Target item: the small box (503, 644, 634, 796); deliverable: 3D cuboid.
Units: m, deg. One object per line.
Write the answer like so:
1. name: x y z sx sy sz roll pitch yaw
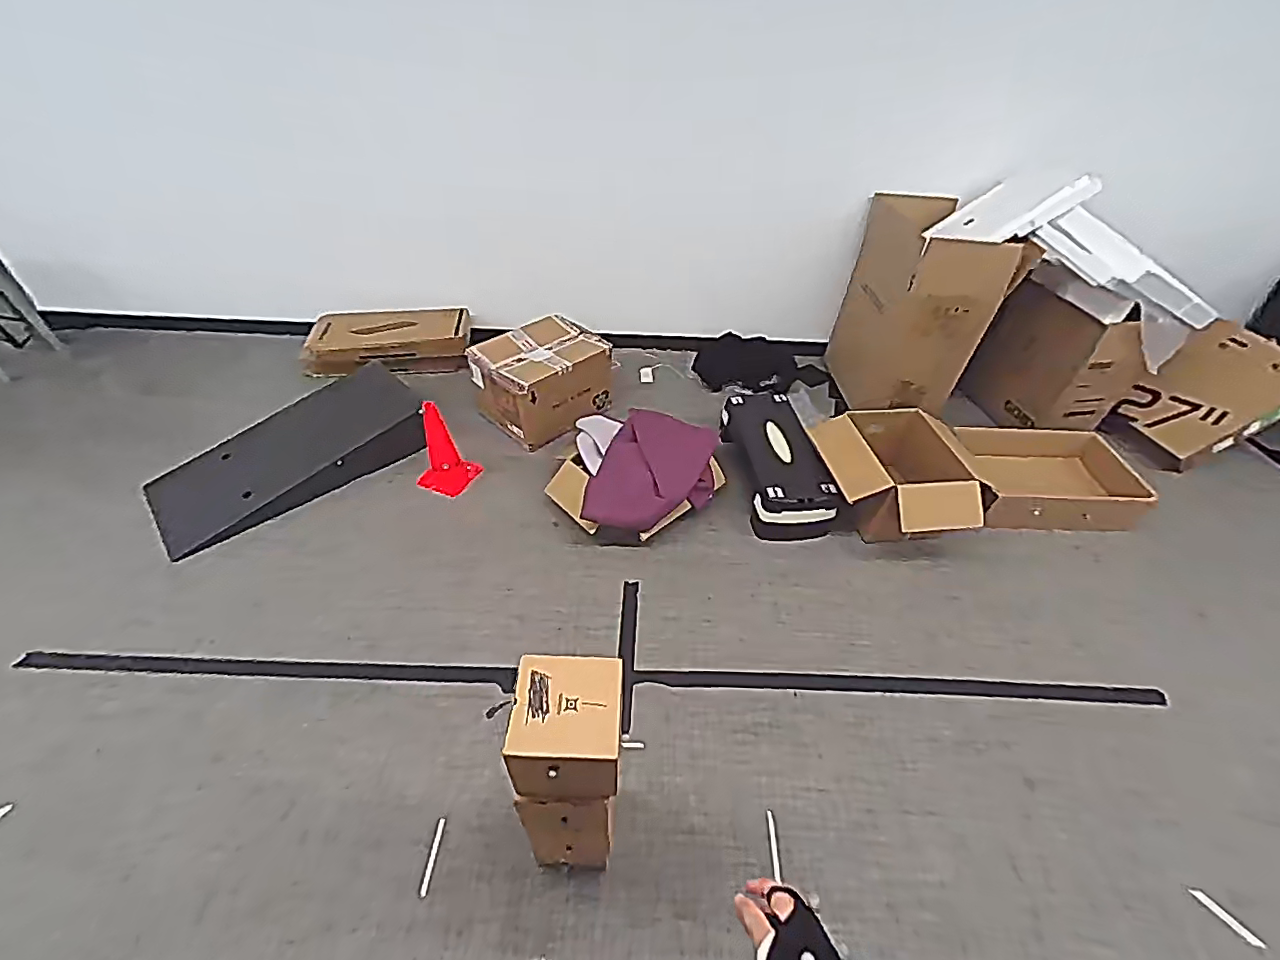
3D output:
1. small box: -0.099 0.374 0.838 0.179 0.176 0.168 2 43 -1

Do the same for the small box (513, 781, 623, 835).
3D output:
1. small box: -0.112 0.501 0.945 0.168 0.176 0.179 2 44 1

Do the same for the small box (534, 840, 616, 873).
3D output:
1. small box: -0.130 0.732 1.178 0.168 0.176 0.179 1 45 0

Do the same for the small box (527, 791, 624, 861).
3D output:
1. small box: -0.117 0.618 1.059 0.168 0.176 0.179 2 43 1
